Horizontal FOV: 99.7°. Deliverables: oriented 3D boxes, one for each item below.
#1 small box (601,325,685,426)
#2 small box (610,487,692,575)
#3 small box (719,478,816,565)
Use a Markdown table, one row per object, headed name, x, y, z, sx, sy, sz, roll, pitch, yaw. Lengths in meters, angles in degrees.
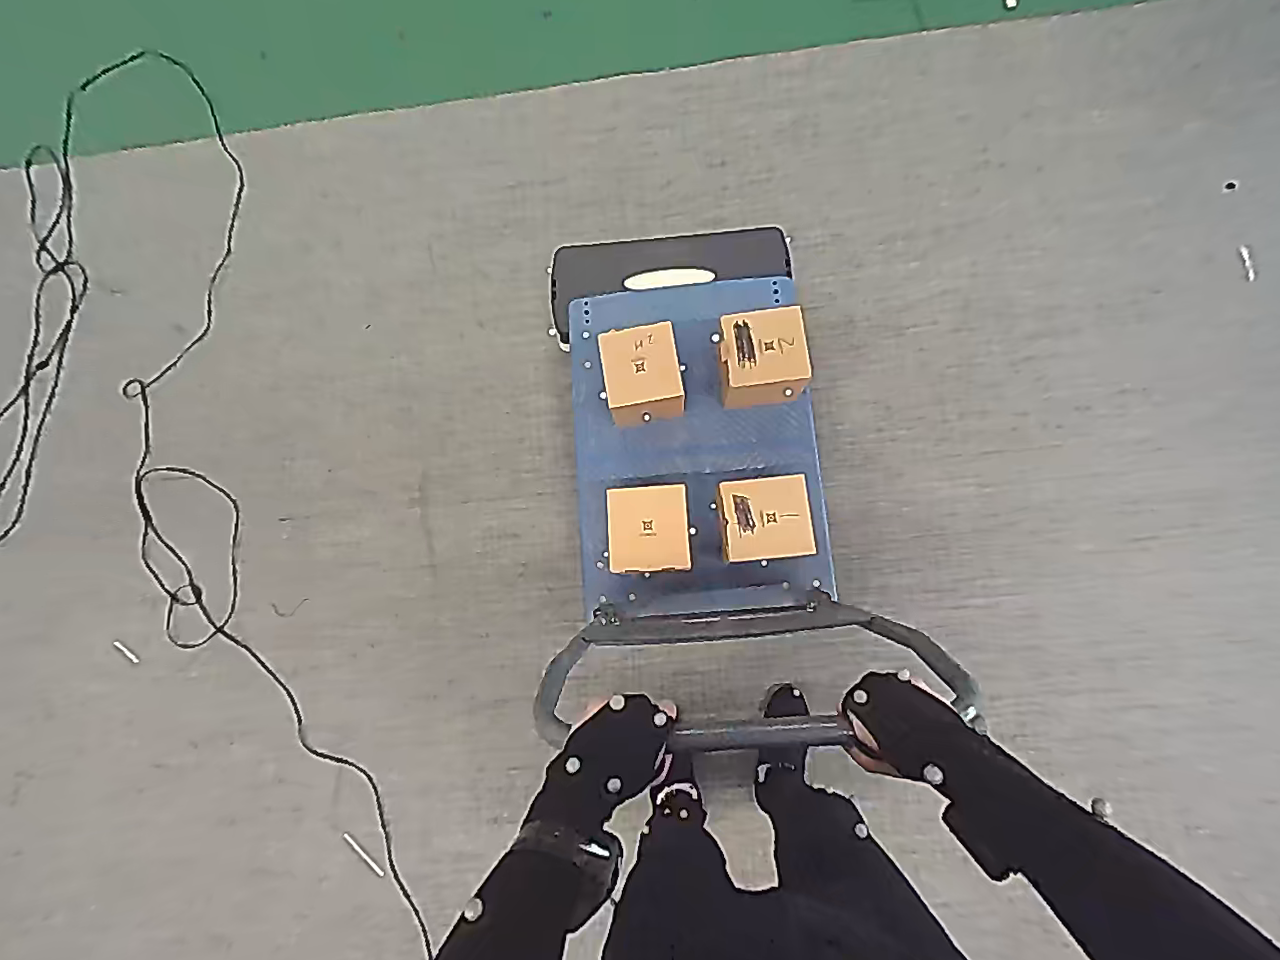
| name | x | y | z | sx | sy | sz | roll | pitch | yaw |
| --- | --- | --- | --- | --- | --- | --- | --- | --- | --- |
| small box | 0.011 | -0.230 | 1.247 | 0.168 | 0.176 | 0.179 | -9 | 79 | 2 |
| small box | 0.024 | 0.117 | 1.187 | 0.168 | 0.176 | 0.179 | -3 | 80 | 3 |
| small box | 0.266 | 0.096 | 1.171 | 0.179 | 0.176 | 0.168 | -5 | 80 | 3 |
